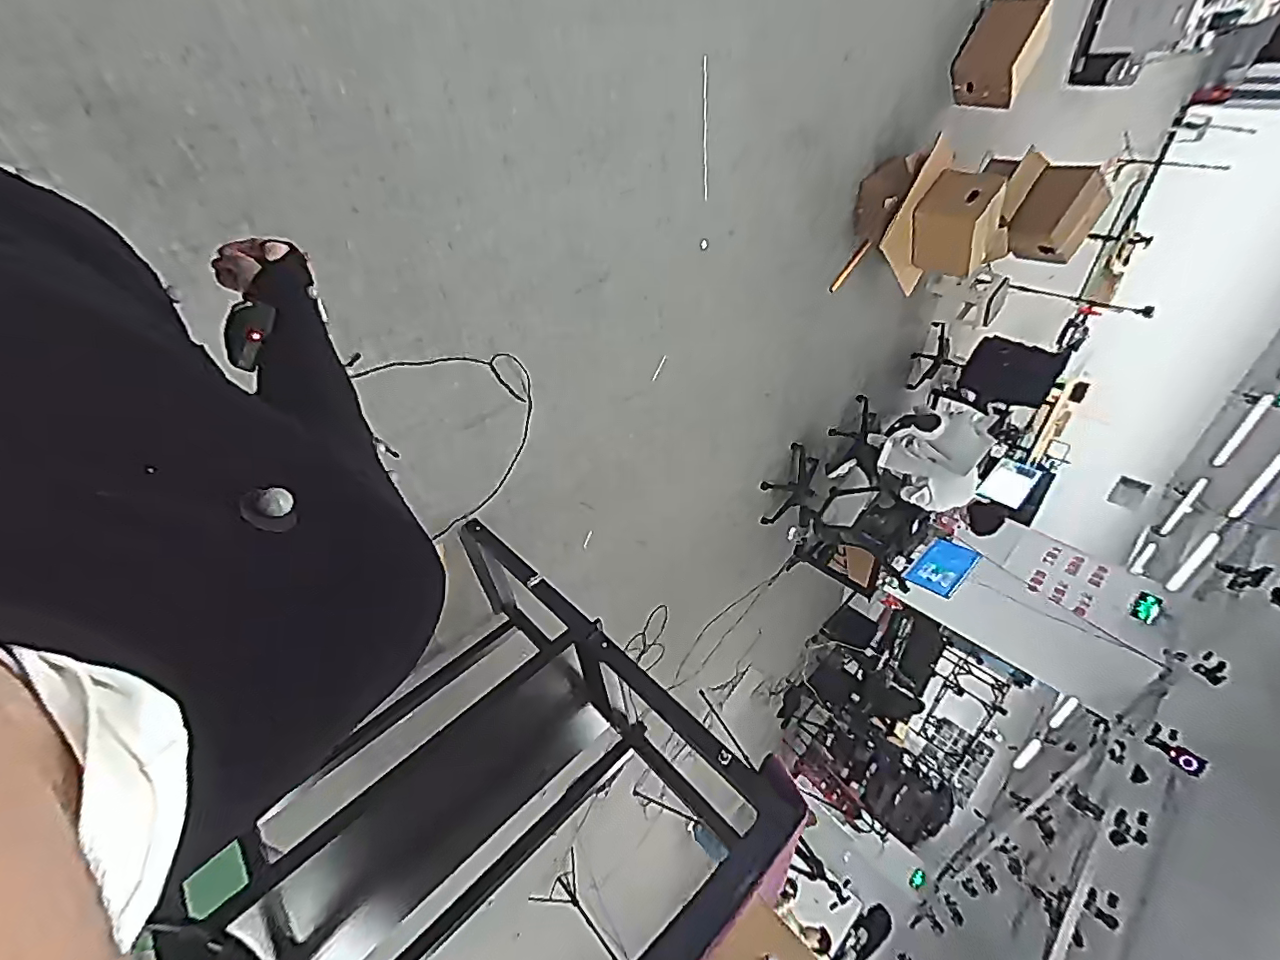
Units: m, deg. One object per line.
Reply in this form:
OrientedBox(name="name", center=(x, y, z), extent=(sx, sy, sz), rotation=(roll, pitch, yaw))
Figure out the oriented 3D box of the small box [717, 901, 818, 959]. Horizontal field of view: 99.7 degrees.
OrientedBox(name="small box", center=(0.263, 1.040, 1.135), extent=(0.179, 0.176, 0.168), rotation=(-36, 139, -28))
